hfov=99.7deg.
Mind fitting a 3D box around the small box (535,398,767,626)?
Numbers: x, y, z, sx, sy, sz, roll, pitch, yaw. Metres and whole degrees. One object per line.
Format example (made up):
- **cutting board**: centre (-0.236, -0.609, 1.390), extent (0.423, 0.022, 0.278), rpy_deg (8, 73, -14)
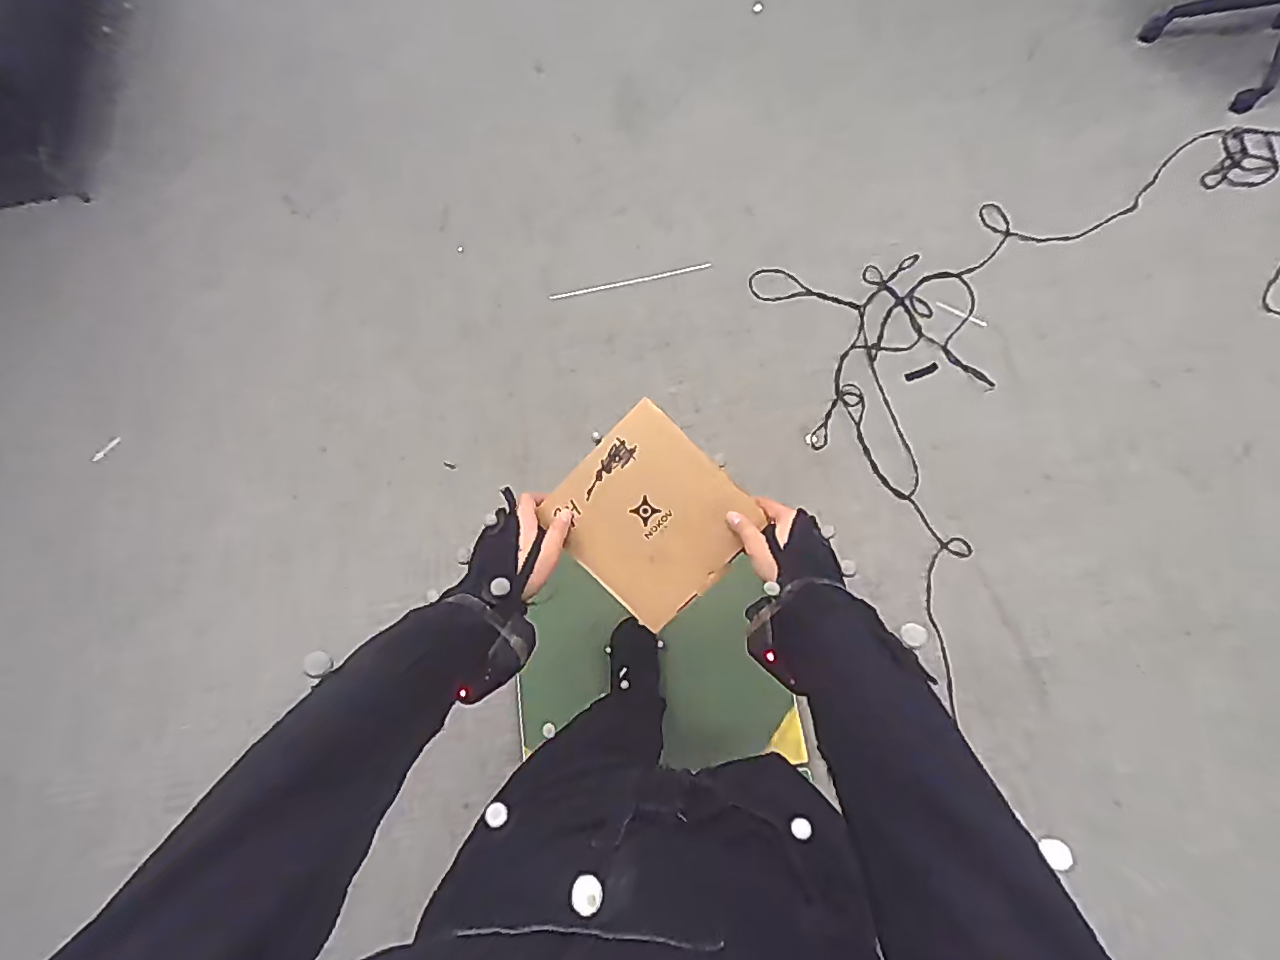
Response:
- **small box**: centre (0.014, 0.026, 0.617), extent (0.179, 0.176, 0.168), rpy_deg (45, 94, -1)
